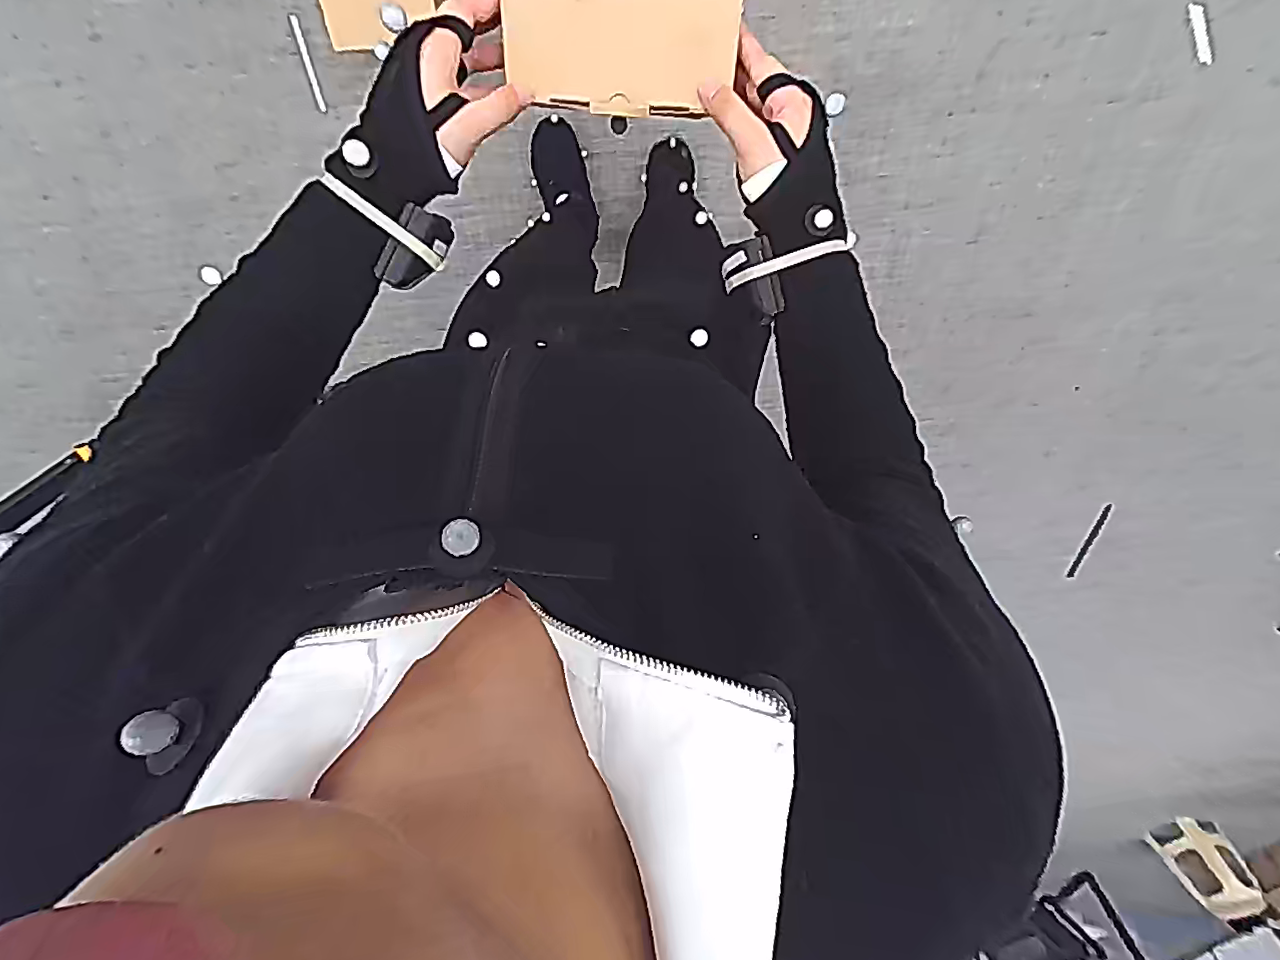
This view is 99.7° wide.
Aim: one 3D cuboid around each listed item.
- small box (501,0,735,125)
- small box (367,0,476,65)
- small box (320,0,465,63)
[{"bbox_3d":[-0.014,-0.394,0.429,0.168,0.176,0.179,2,124,-3],"label":"small box"},{"bbox_3d":[-0.401,-0.849,0.965,0.179,0.176,0.168,-3,126,-2],"label":"small box"},{"bbox_3d":[-0.384,-0.757,0.831,0.168,0.176,0.179,-3,128,0],"label":"small box"}]
